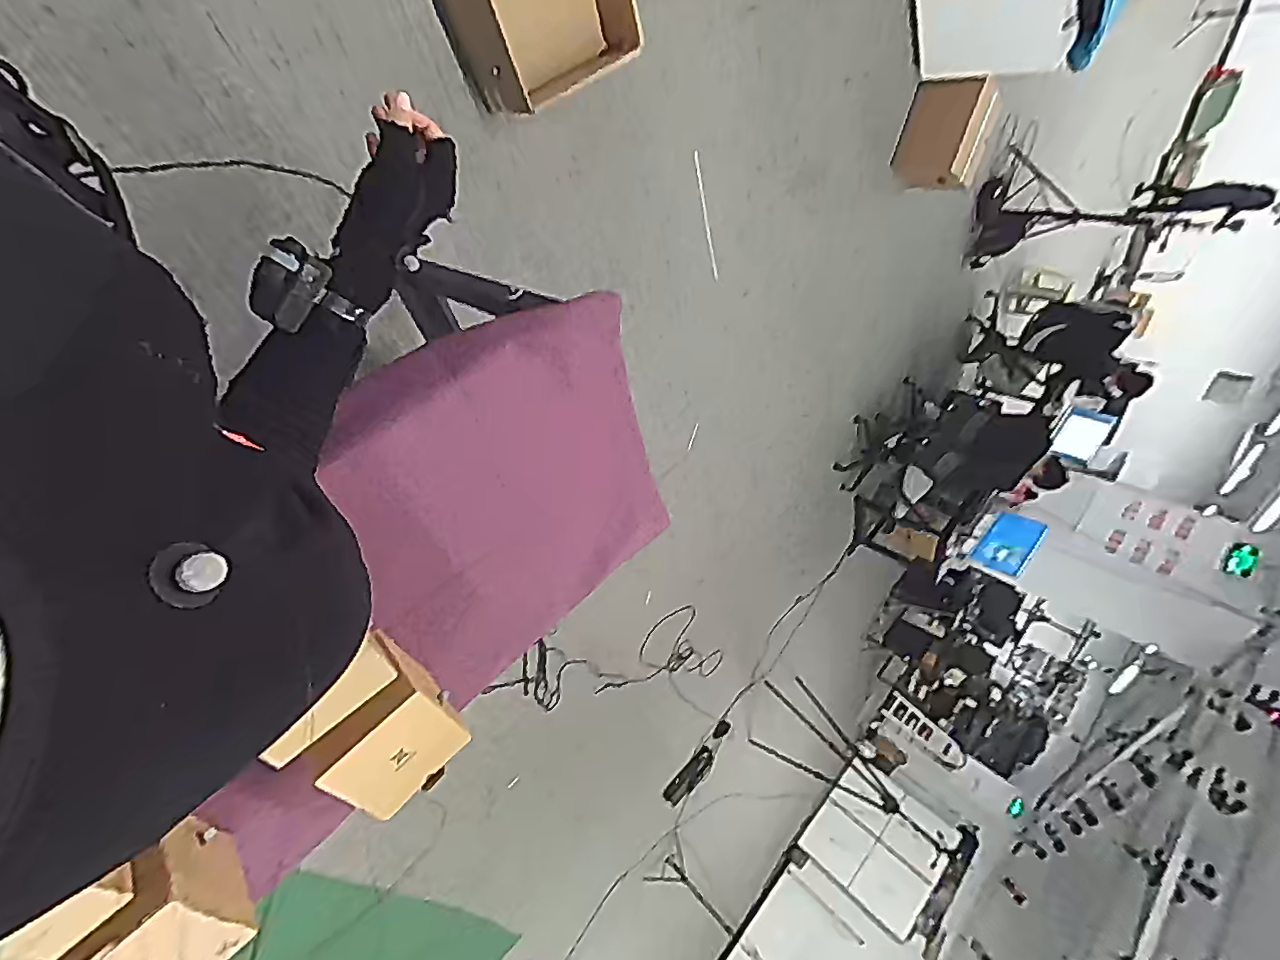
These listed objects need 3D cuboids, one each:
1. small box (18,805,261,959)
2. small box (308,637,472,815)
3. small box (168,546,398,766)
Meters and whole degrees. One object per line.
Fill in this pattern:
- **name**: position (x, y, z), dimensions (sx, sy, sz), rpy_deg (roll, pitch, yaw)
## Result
- **small box**: position (-0.647, 0.569, 0.705), dimensions (0.168, 0.176, 0.179), rpy_deg (-36, 135, -28)
- **small box**: position (-0.409, 0.378, 0.856), dimensions (0.168, 0.176, 0.179), rpy_deg (-42, 138, -23)
- **small box**: position (-0.455, 0.218, 0.699), dimensions (0.168, 0.176, 0.179), rpy_deg (-38, 137, -27)
